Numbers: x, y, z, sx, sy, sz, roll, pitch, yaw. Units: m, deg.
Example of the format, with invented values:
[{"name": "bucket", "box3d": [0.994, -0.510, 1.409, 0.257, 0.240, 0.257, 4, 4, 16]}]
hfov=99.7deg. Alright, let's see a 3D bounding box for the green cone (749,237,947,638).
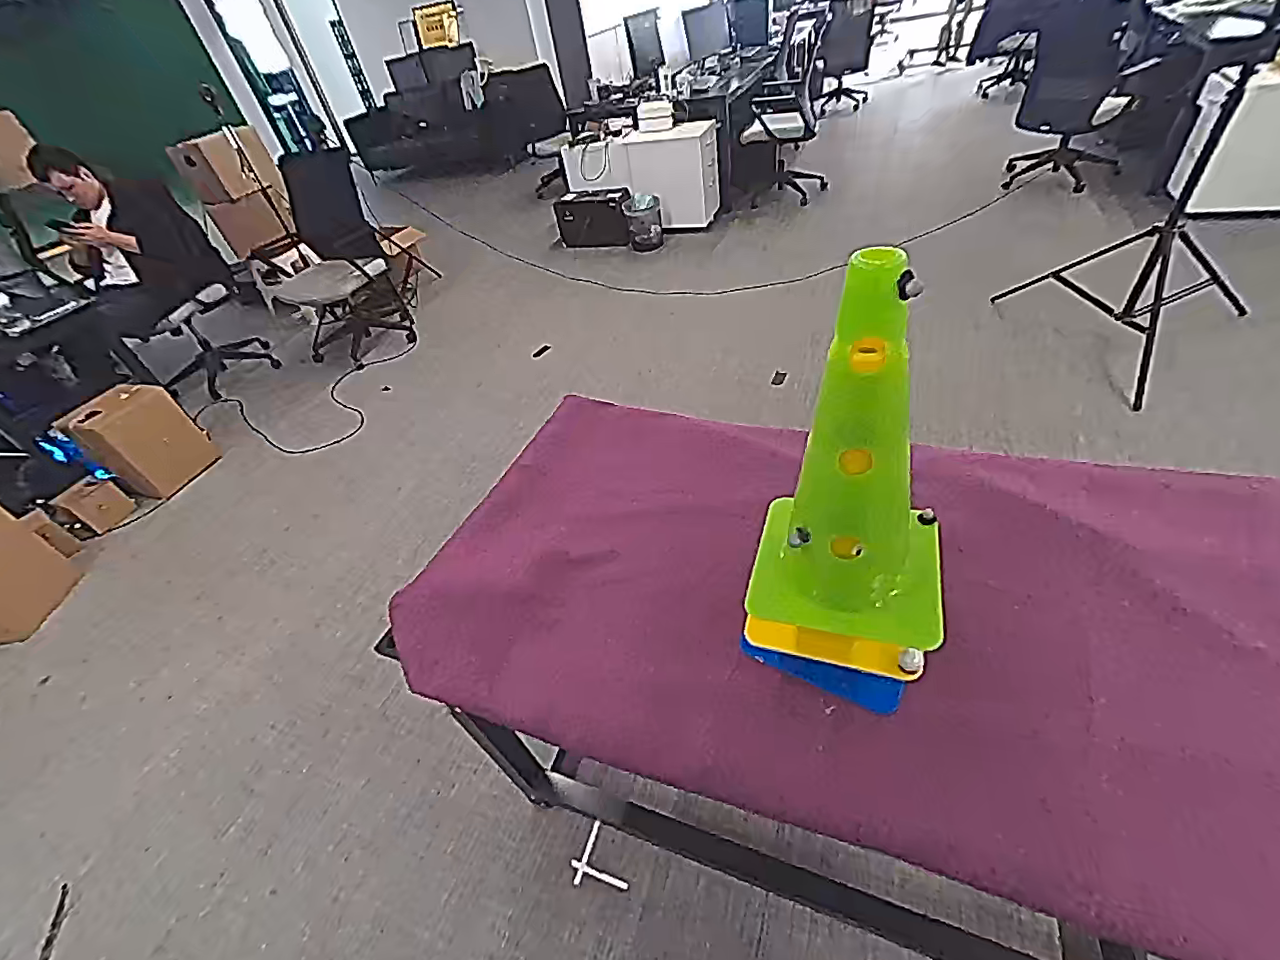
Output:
[{"name": "green cone", "box3d": [0.210, -0.043, 0.522, 0.200, 0.368, 0.202, 5, 43, 21]}]
